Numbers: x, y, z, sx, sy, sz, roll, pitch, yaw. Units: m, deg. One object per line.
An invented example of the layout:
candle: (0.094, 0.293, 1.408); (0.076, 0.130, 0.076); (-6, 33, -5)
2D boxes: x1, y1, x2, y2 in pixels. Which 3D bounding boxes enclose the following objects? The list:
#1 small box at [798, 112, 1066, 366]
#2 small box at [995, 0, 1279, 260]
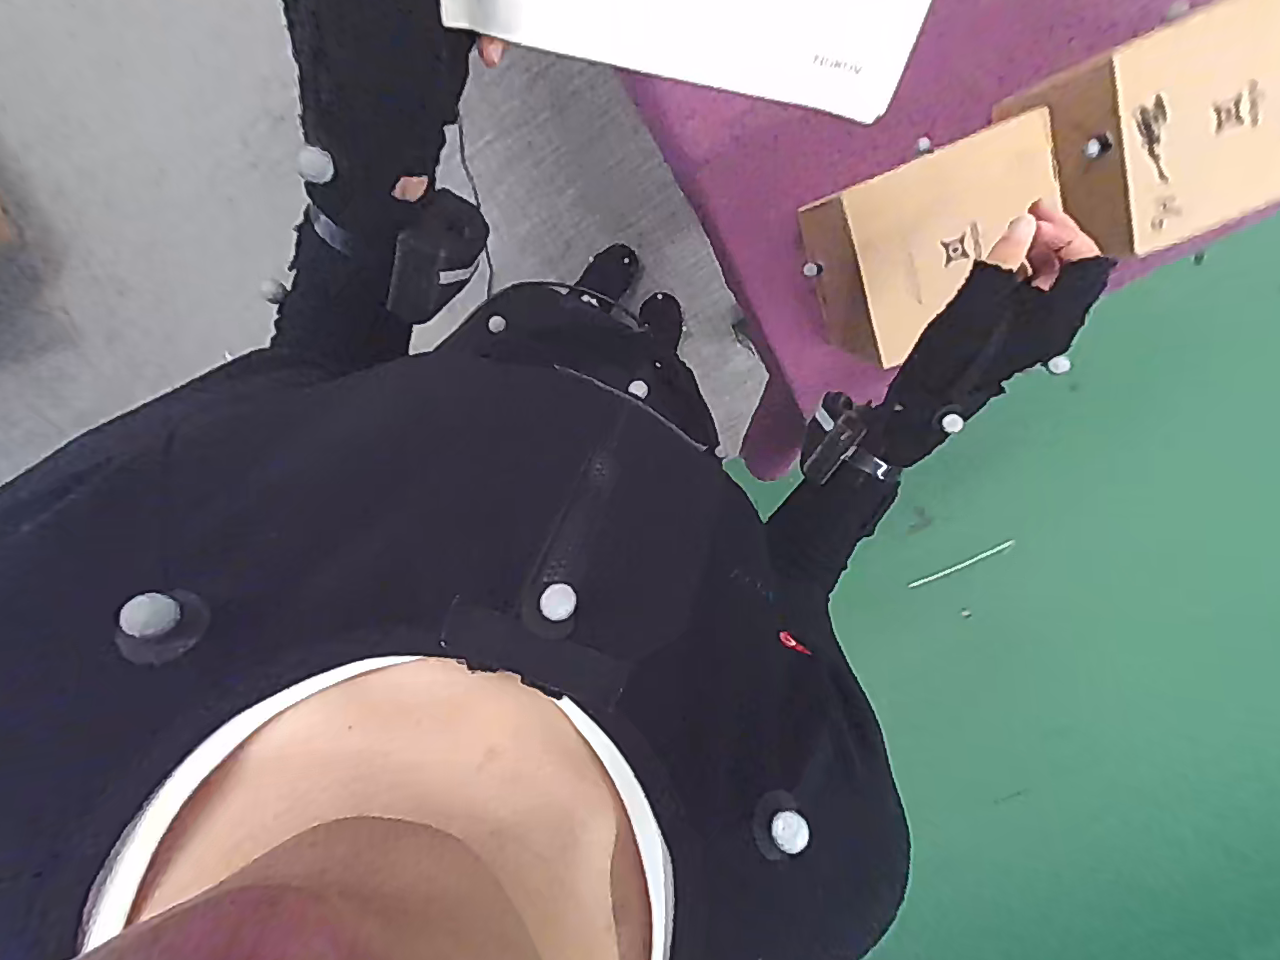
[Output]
small box: (0.284, -0.236, 0.554); (0.179, 0.176, 0.168); (-19, 110, 9)
small box: (0.485, -0.327, 0.513); (0.179, 0.176, 0.168); (-22, 110, 9)
